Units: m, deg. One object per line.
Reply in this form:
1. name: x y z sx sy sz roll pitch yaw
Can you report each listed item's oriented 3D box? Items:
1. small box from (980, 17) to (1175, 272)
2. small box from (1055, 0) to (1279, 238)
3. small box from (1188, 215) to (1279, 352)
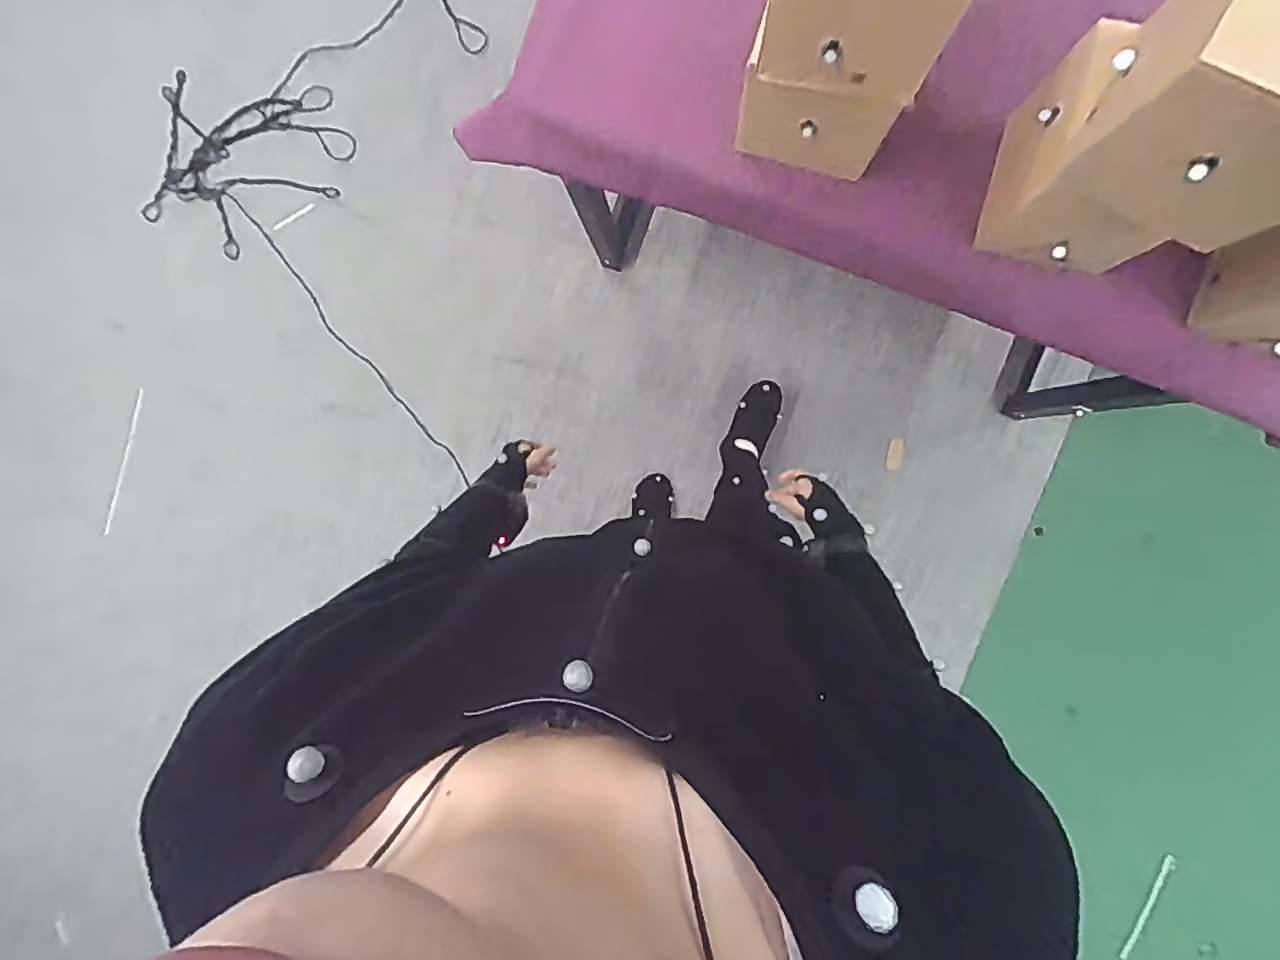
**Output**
1. small box: 0.536 -0.372 0.630 0.168 0.176 0.179 15 93 5
2. small box: 0.528 -0.340 0.467 0.179 0.176 0.168 29 94 4
3. small box: 0.805 -0.246 0.610 0.179 0.176 0.168 17 94 5
